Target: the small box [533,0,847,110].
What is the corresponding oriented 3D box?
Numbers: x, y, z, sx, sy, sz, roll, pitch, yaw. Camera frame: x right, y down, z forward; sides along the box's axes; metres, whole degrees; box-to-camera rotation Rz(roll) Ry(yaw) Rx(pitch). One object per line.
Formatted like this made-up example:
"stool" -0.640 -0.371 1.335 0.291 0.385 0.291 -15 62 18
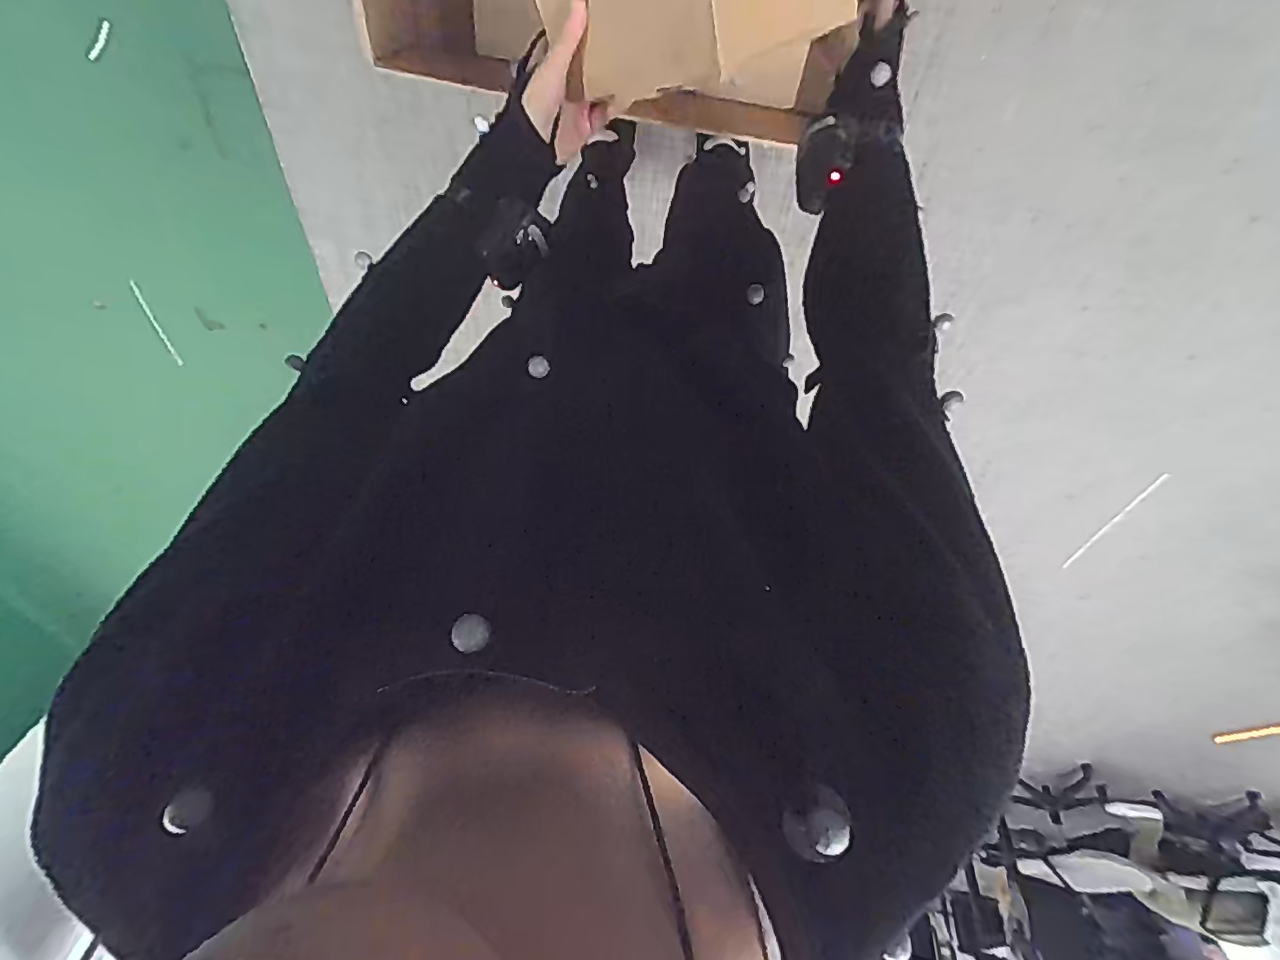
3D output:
"small box" 0.030 -0.385 0.369 0.168 0.176 0.179 28 149 39
